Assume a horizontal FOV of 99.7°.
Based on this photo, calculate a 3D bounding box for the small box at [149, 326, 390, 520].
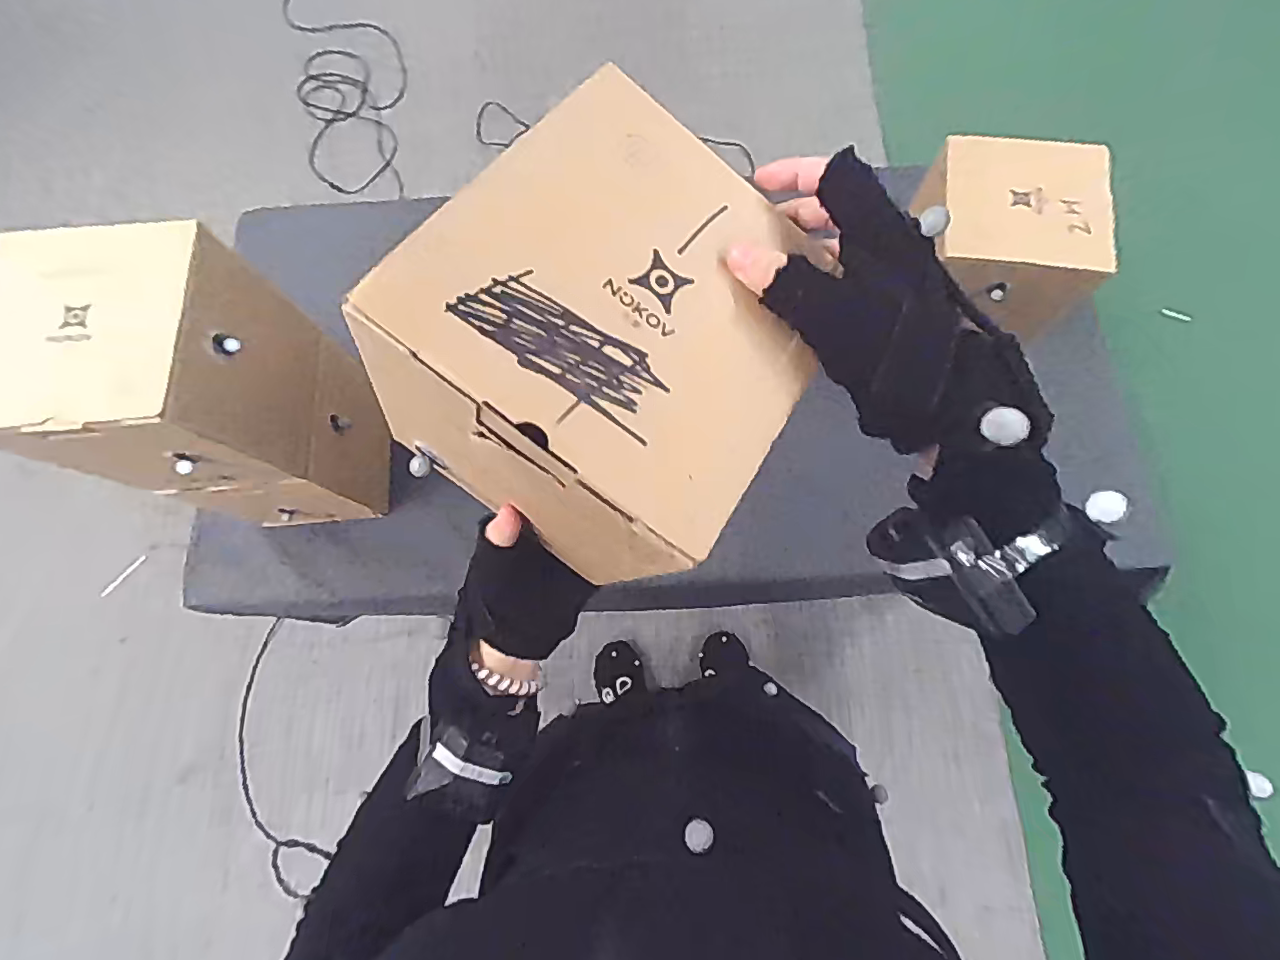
[{"bbox_3d":[-0.418,-0.059,0.645,0.168,0.176,0.179,-5,75,1],"label":"small box"}]

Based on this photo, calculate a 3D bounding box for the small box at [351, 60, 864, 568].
[{"bbox_3d":[-0.020,-0.066,0.306,0.168,0.176,0.179,38,68,-7],"label":"small box"}]

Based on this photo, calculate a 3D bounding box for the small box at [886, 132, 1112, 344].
[{"bbox_3d":[0.423,-0.286,0.666,0.179,0.176,0.168,9,76,5],"label":"small box"}]

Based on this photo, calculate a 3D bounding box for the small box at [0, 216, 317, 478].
[{"bbox_3d":[-0.425,-0.103,0.489,0.168,0.176,0.179,-3,74,0],"label":"small box"}]
